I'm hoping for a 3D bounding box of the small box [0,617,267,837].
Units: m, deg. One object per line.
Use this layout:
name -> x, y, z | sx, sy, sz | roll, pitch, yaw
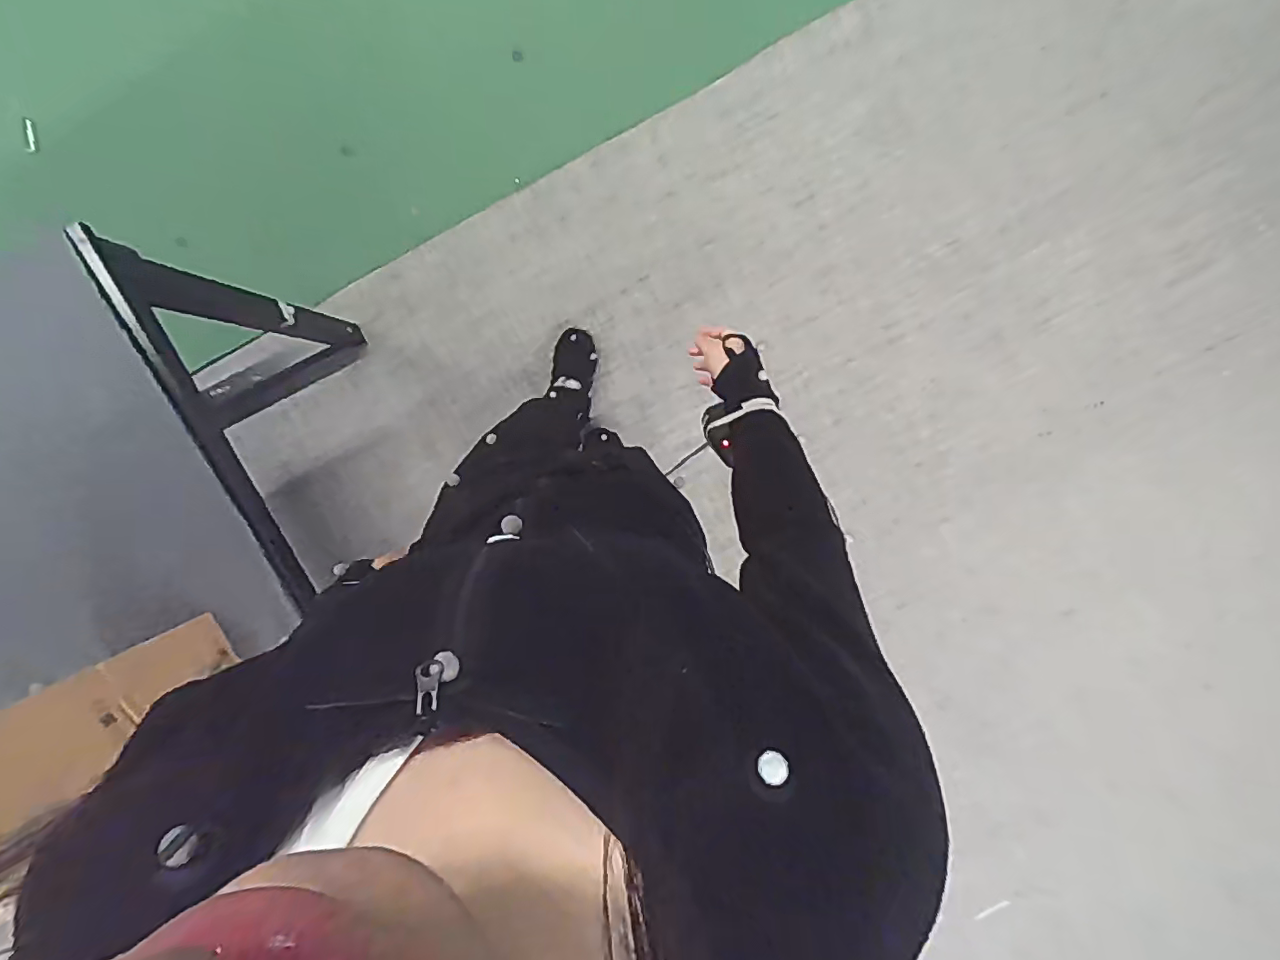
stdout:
small box -> -0.658, 0.313, 0.718 | 0.179, 0.176, 0.168 | -27, 98, 3
